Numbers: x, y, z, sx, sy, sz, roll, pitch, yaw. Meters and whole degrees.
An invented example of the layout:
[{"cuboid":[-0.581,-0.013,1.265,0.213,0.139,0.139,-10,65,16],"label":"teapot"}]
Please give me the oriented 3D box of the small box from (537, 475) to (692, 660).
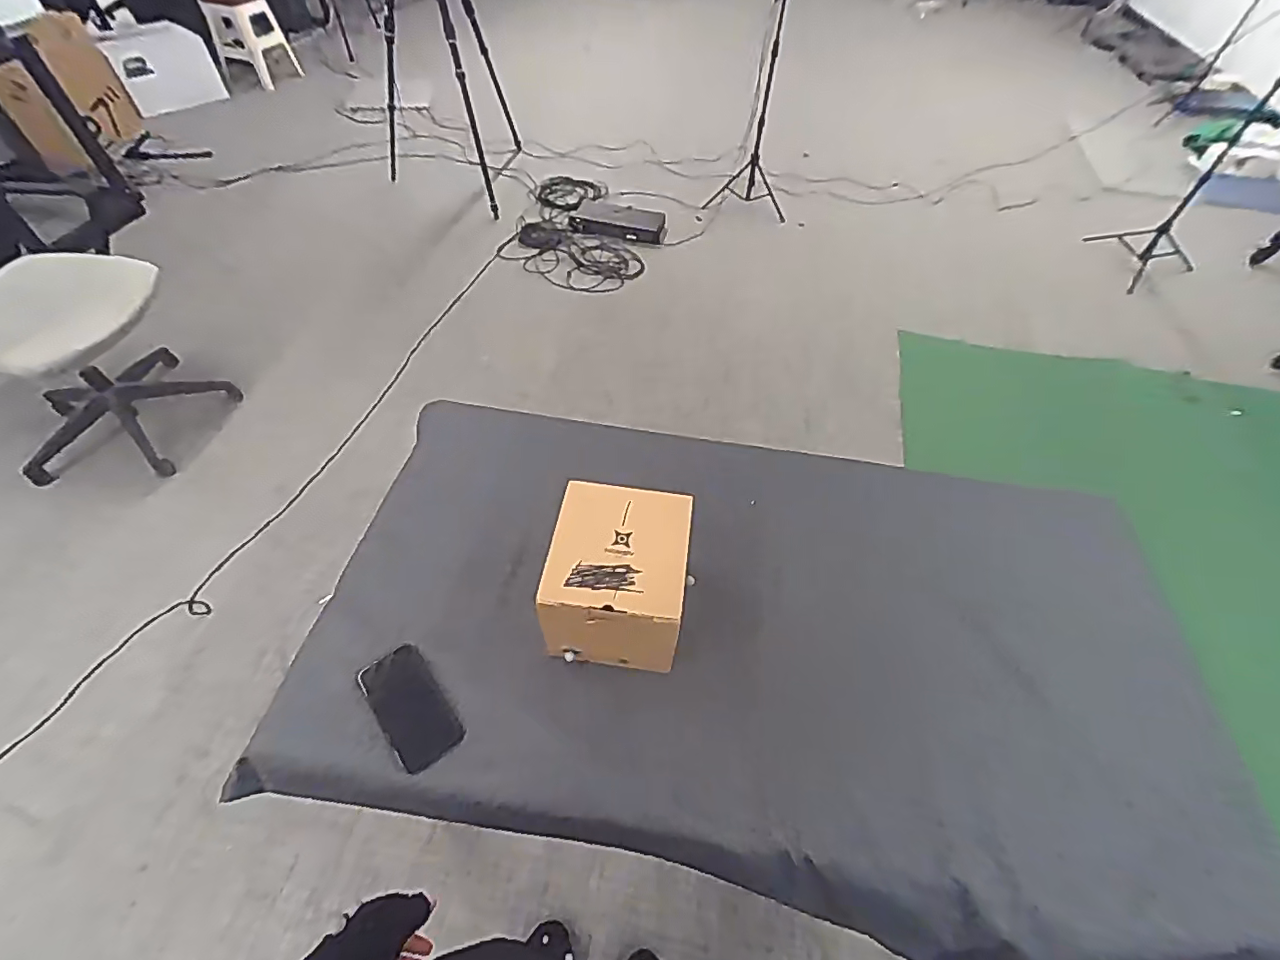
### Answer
[{"cuboid":[-0.027,0.121,0.718,0.168,0.176,0.179,8,52,3],"label":"small box"}]
